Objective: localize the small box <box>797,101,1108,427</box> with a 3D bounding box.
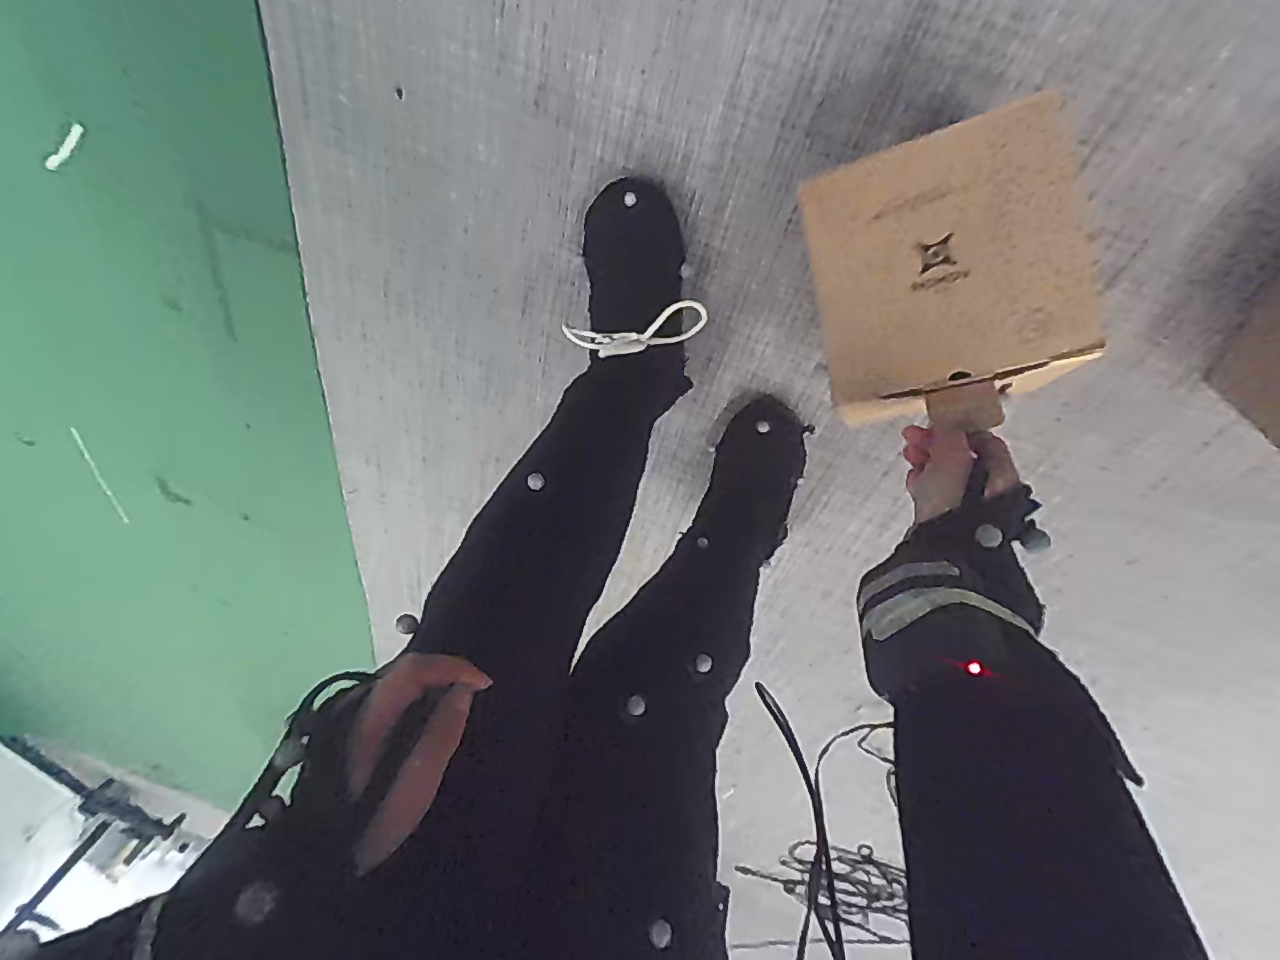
[{"bbox_3d":[0.239,-0.146,0.446,0.168,0.176,0.179,-12,83,24],"label":"small box"}]
